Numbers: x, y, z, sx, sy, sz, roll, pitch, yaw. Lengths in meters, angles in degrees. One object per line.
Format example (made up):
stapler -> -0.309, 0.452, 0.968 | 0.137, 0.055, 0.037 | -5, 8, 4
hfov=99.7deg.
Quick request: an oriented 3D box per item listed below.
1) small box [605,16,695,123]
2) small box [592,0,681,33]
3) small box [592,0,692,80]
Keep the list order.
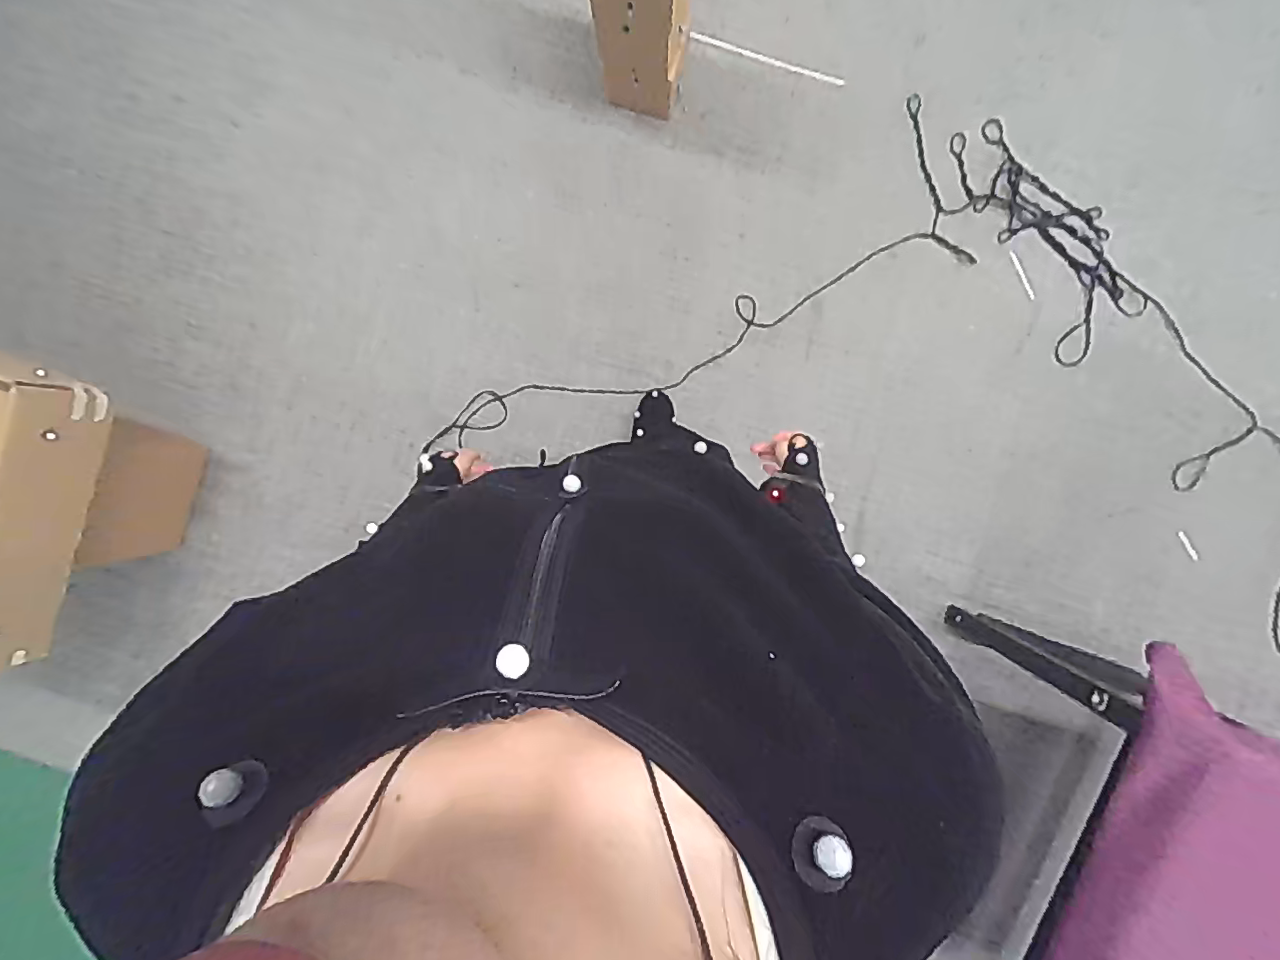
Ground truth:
small box -> 0.024, -1.038, 1.352 | 0.179, 0.176, 0.168 | 18, 94, 0
small box -> 0.005, -1.005, 1.027 | 0.179, 0.176, 0.168 | 16, 94, 0
small box -> 0.010, -1.031, 1.189 | 0.179, 0.176, 0.168 | 18, 95, 0
